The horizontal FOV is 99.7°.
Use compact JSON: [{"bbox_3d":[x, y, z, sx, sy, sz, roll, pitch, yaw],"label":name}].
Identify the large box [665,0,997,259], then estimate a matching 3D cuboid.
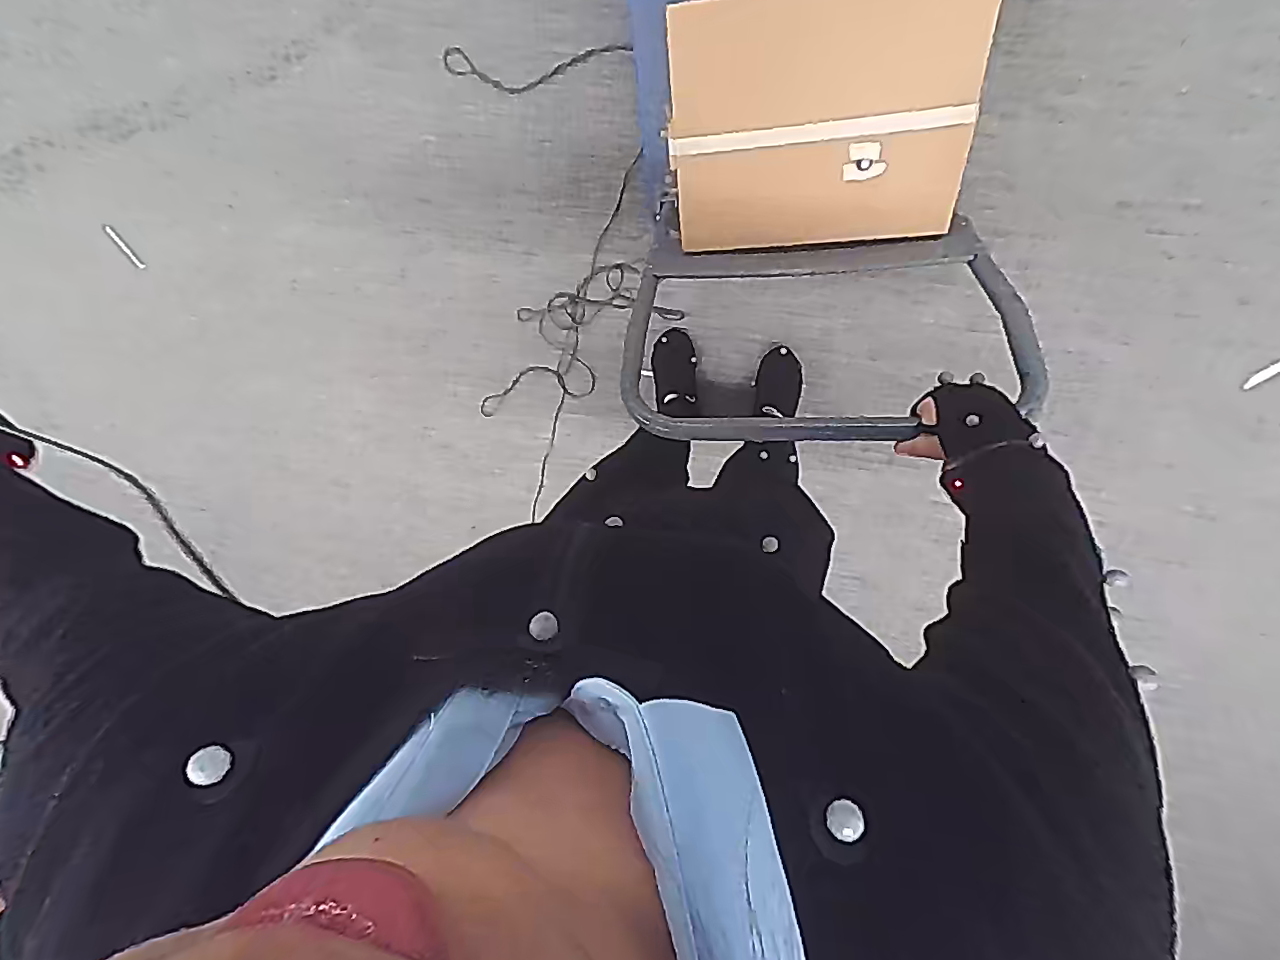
[{"bbox_3d":[0.264,-0.580,0.868,0.408,0.320,0.320,0,132,10],"label":"large box"}]
